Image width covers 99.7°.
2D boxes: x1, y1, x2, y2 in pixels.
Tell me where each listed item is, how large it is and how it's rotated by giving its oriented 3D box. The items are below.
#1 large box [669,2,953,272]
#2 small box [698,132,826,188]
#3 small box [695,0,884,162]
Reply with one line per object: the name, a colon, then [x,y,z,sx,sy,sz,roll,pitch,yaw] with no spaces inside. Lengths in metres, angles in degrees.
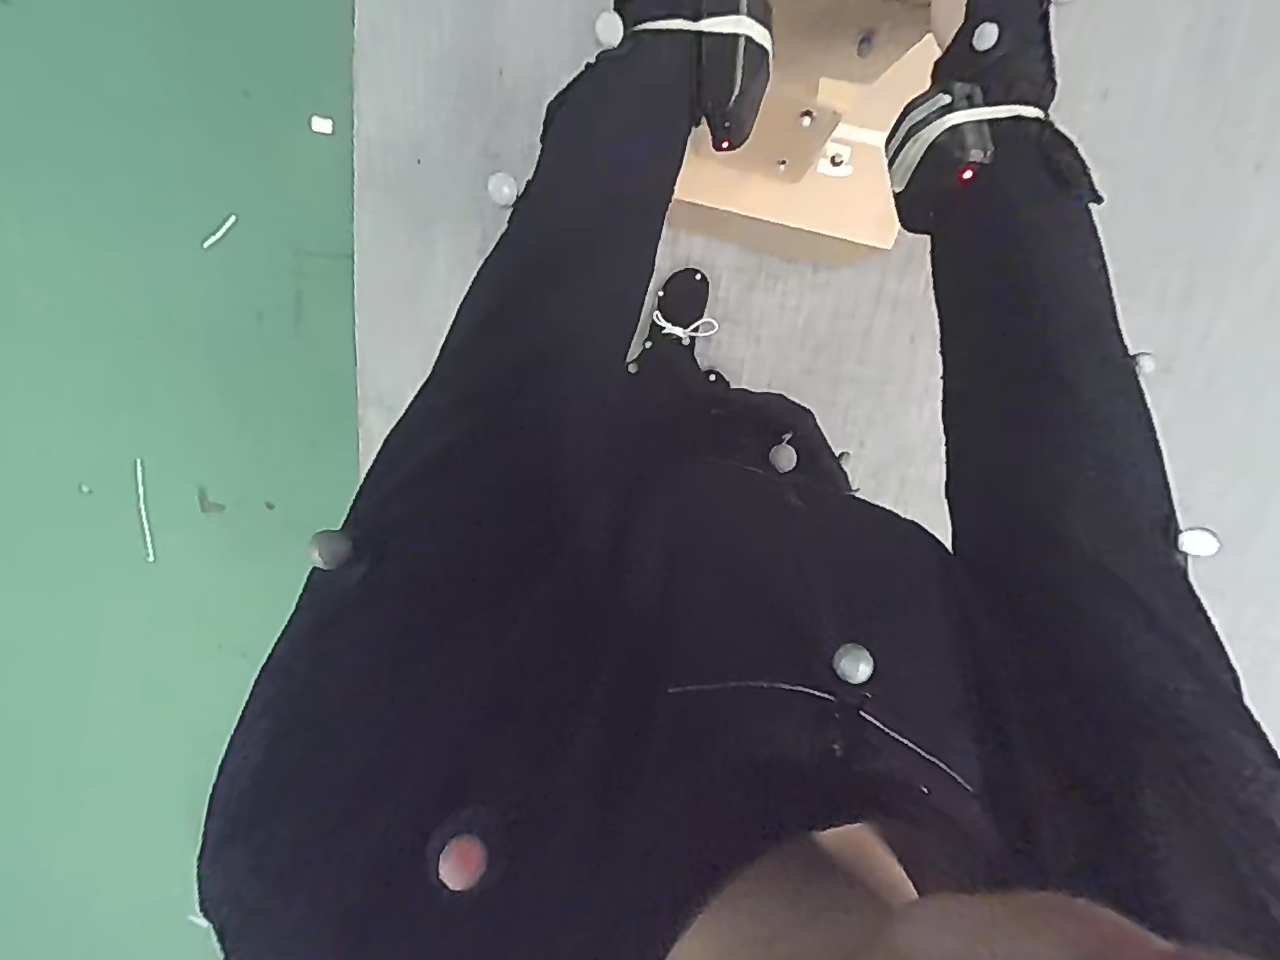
large box: [0.280,-0.614,1.037,0.408,0.320,0.320,13,106,0]
small box: [0.191,-0.559,0.808,0.179,0.176,0.168,14,104,2]
small box: [0.170,-0.514,0.653,0.179,0.176,0.168,15,104,0]
